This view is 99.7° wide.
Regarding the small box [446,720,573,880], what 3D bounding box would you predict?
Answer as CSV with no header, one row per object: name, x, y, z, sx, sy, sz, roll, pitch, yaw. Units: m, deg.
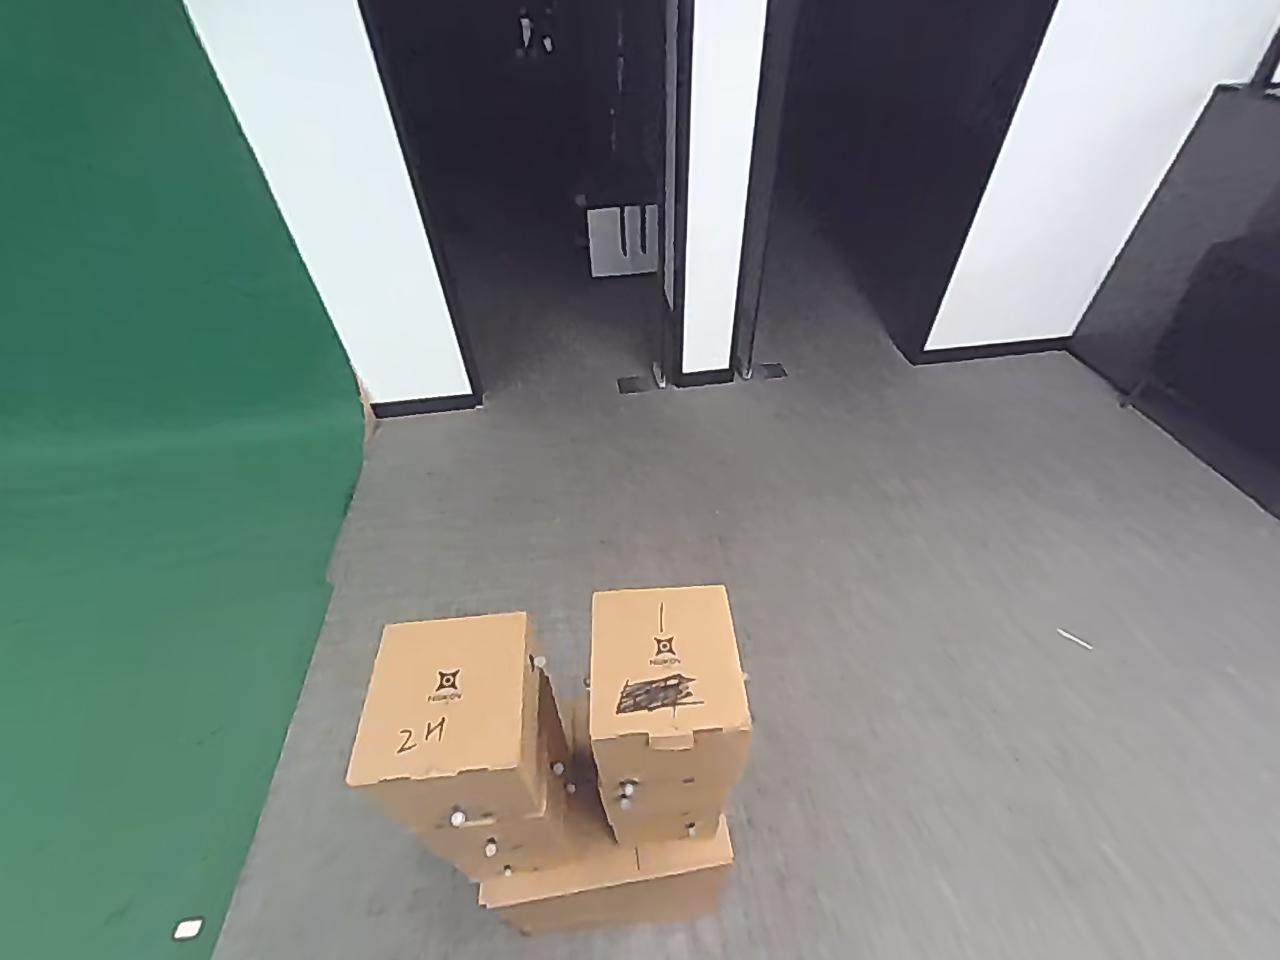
small box,-0.199,0.514,0.869,0.168,0.176,0.179,-5,46,-5

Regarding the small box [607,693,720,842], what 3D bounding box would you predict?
small box,0.035,0.479,0.893,0.168,0.176,0.179,-5,44,-1

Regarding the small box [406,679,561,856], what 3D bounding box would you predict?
small box,-0.201,0.401,0.749,0.168,0.176,0.179,-5,46,-4

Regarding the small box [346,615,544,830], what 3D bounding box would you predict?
small box,-0.207,0.283,0.634,0.168,0.176,0.179,-5,46,-3
